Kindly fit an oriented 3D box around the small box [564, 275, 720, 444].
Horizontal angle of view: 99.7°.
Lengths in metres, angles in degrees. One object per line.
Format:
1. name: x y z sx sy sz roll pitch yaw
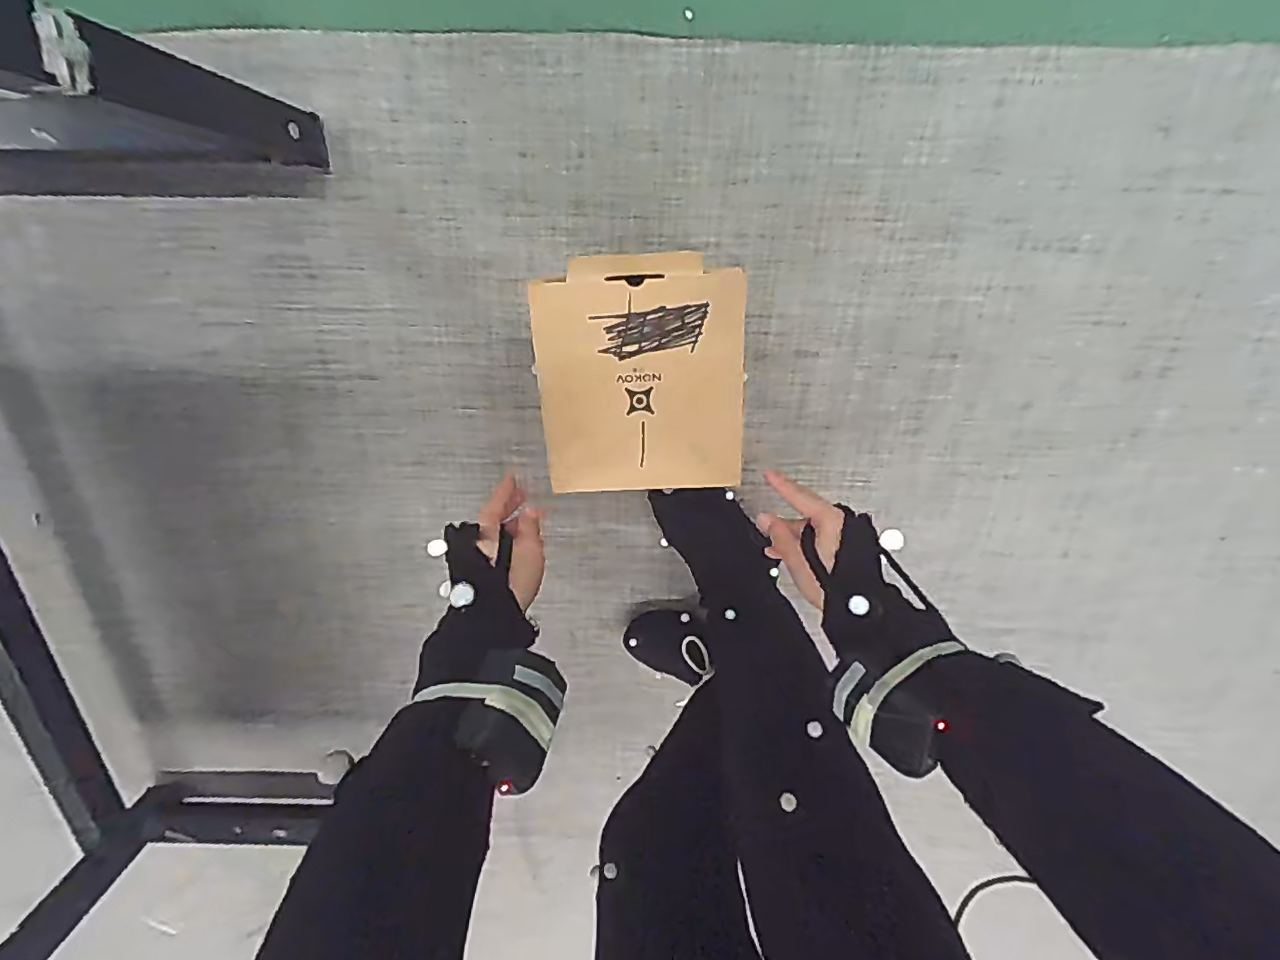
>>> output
1. small box: 0.006 -0.153 0.659 0.168 0.176 0.179 -2 112 3
